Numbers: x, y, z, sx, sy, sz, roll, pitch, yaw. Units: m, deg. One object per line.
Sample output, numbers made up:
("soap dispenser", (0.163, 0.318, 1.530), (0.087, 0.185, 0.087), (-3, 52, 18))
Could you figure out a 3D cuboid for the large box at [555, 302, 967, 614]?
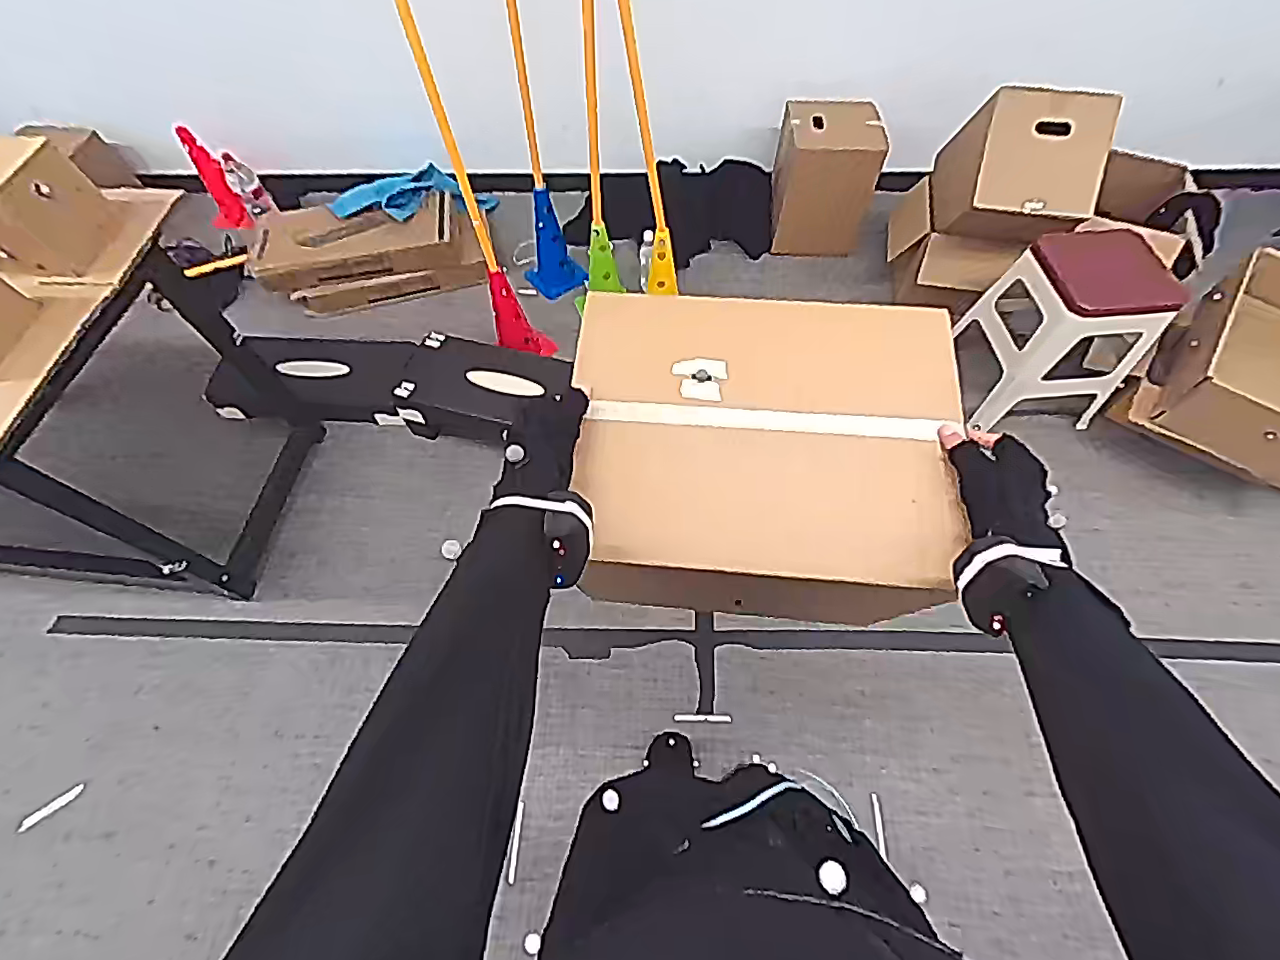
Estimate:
("large box", (0.136, -0.007, 0.712), (0.408, 0.320, 0.320), (4, 69, 6))
